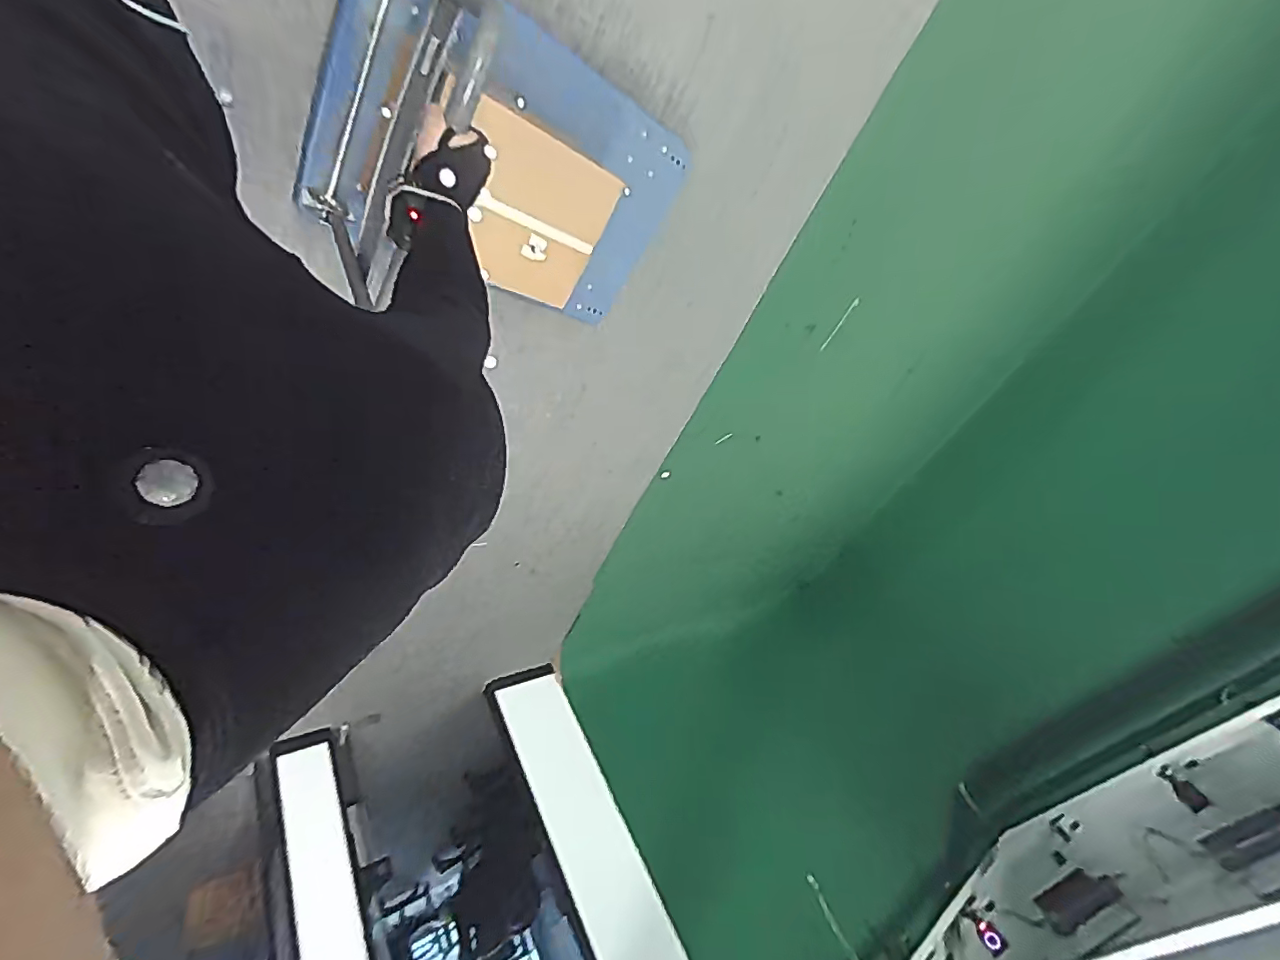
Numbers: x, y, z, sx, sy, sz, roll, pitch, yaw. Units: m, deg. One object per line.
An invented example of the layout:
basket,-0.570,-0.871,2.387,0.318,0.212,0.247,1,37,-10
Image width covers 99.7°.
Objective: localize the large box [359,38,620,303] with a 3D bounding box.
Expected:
large box,-0.332,-0.644,1.171,0.408,0.320,0.320,5,130,-45
